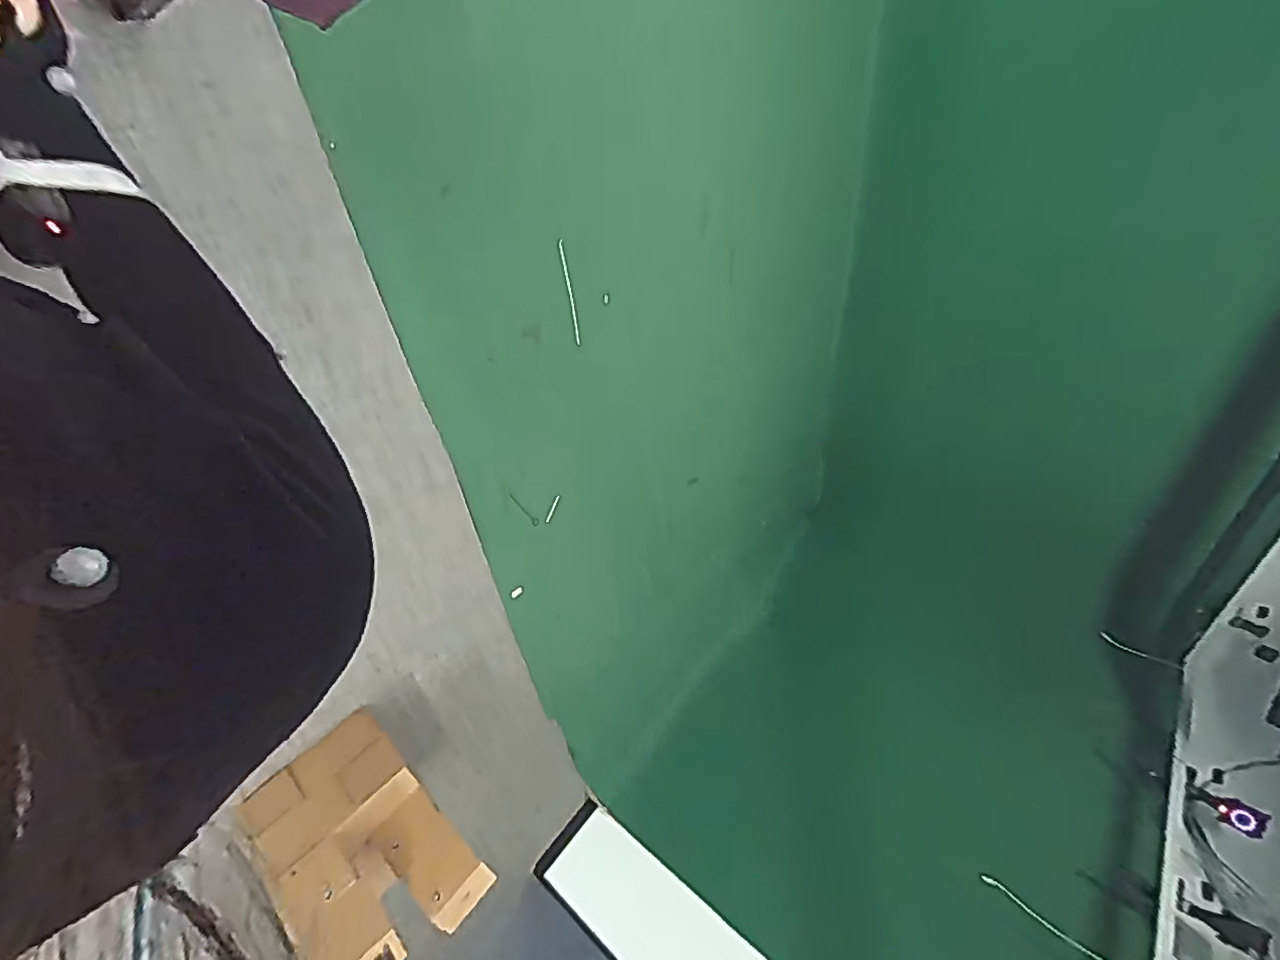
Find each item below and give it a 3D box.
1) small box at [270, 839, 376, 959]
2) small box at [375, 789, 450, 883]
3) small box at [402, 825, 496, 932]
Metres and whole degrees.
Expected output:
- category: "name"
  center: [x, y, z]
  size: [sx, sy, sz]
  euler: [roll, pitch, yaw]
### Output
- category: "small box"
  center: [-0.855, 1.124, 1.462]
  size: [0.168, 0.176, 0.179]
  euler: [-35, 136, -37]
- category: "small box"
  center: [-0.693, 1.116, 1.682]
  size: [0.179, 0.176, 0.168]
  euler: [-41, 140, -33]
- category: "small box"
  center: [-0.564, 1.170, 1.598]
  size: [0.179, 0.176, 0.168]
  euler: [-40, 139, -33]
